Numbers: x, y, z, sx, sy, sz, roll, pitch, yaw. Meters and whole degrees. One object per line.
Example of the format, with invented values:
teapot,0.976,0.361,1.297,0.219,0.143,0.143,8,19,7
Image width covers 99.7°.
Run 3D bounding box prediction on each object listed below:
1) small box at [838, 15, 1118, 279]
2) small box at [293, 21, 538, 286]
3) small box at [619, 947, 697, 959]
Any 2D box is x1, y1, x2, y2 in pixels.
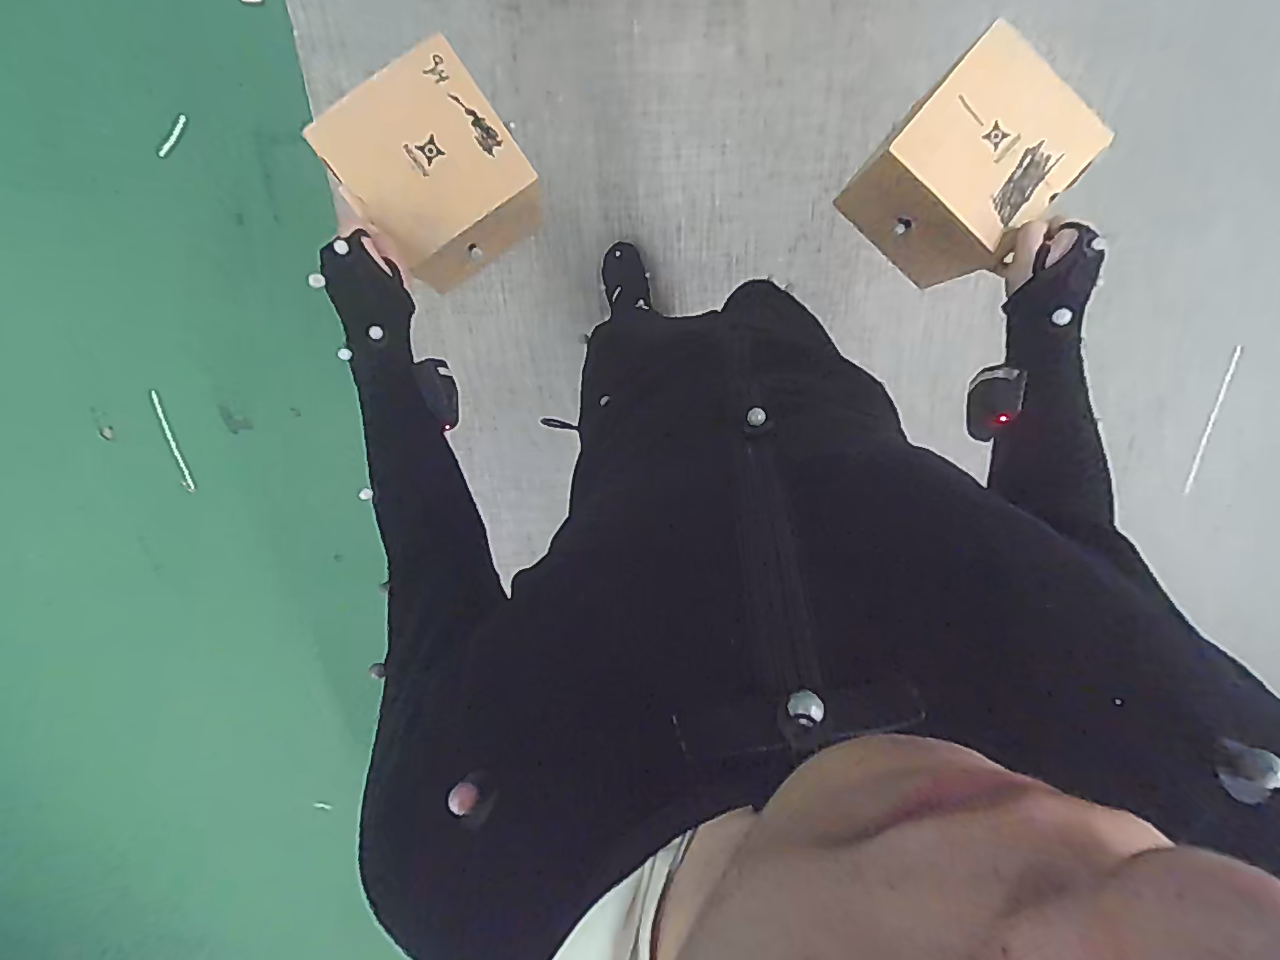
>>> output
small box,0.369,-0.357,0.627,0.179,0.176,0.168,41,97,-6
small box,-0.234,-0.348,0.621,0.179,0.176,0.168,-35,102,0
small box,0.044,1.093,1.103,0.168,0.176,0.179,-4,114,0
